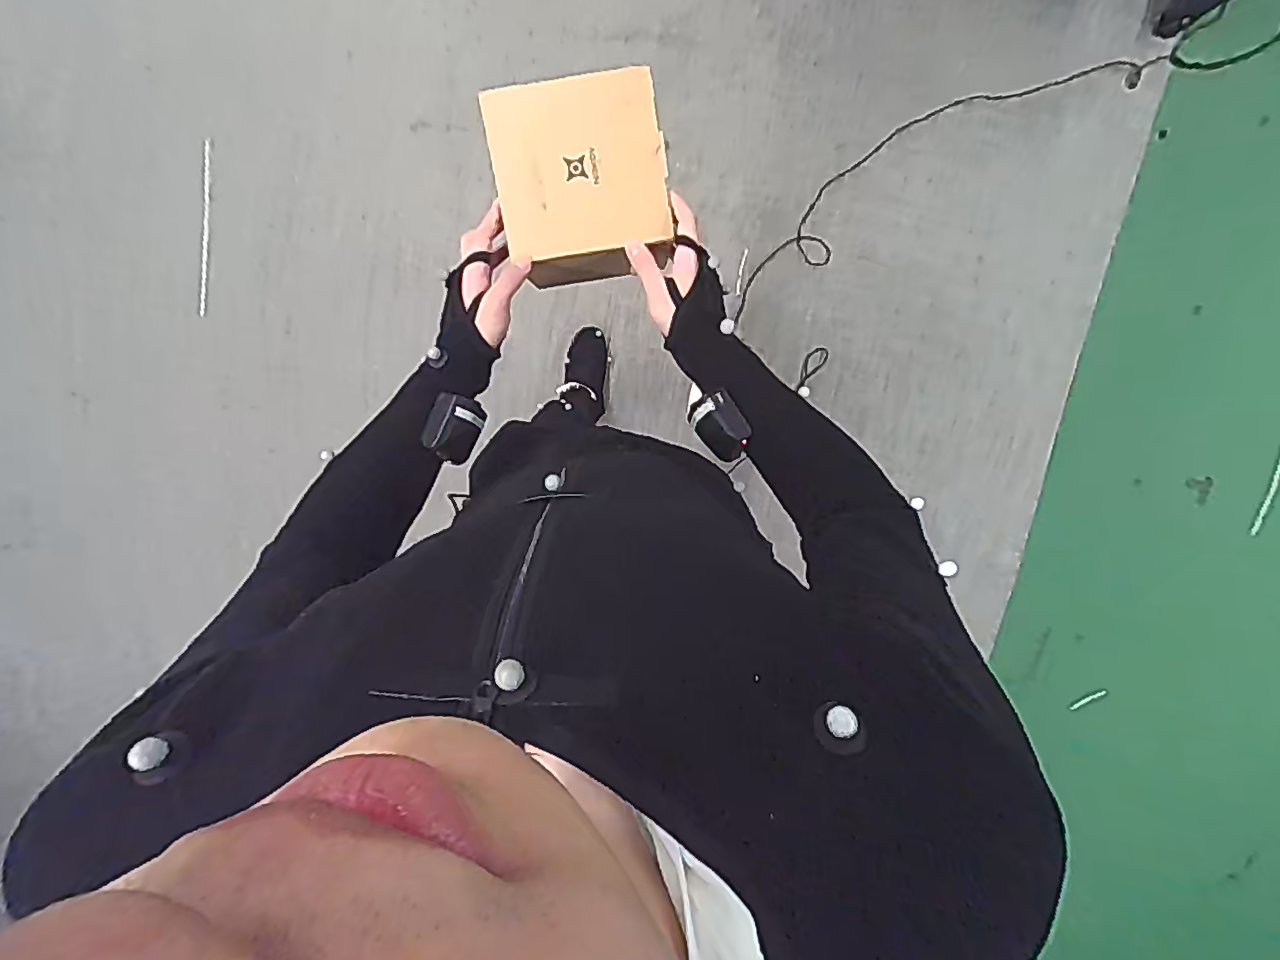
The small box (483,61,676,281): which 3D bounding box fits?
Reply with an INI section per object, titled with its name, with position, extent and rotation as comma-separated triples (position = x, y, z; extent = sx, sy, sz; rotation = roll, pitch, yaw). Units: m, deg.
[small box]
position = -0.061, -0.336, 0.622
extent = 0.179, 0.176, 0.168
rotation = -8, 101, 1
